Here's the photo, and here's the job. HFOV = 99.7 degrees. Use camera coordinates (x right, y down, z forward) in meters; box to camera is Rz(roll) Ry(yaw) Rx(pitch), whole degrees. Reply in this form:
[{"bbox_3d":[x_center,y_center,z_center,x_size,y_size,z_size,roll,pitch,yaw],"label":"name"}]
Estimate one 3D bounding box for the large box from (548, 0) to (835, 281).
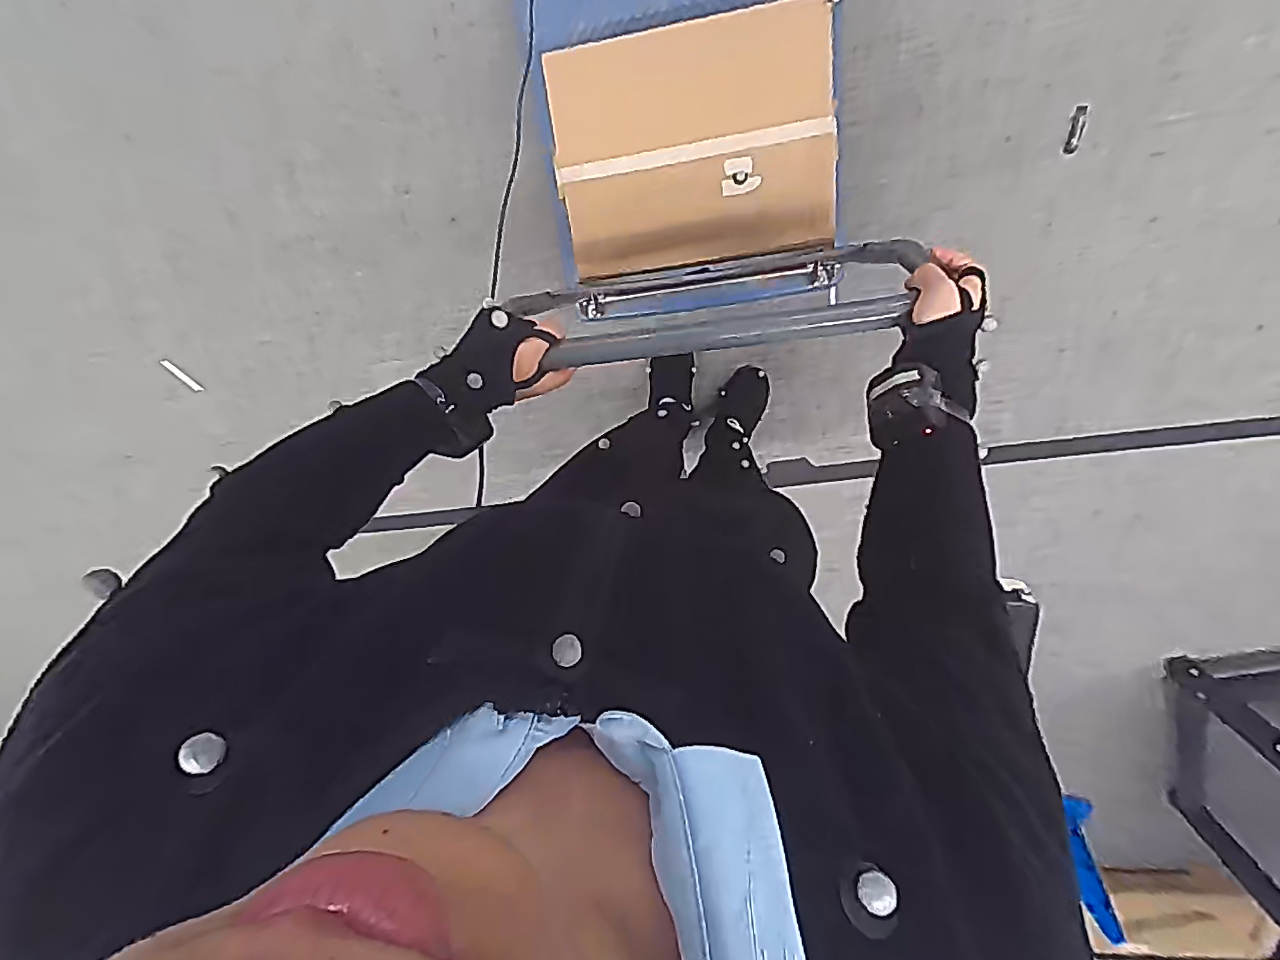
[{"bbox_3d":[0.095,-0.544,0.945,0.408,0.320,0.320,-6,111,8],"label":"large box"}]
